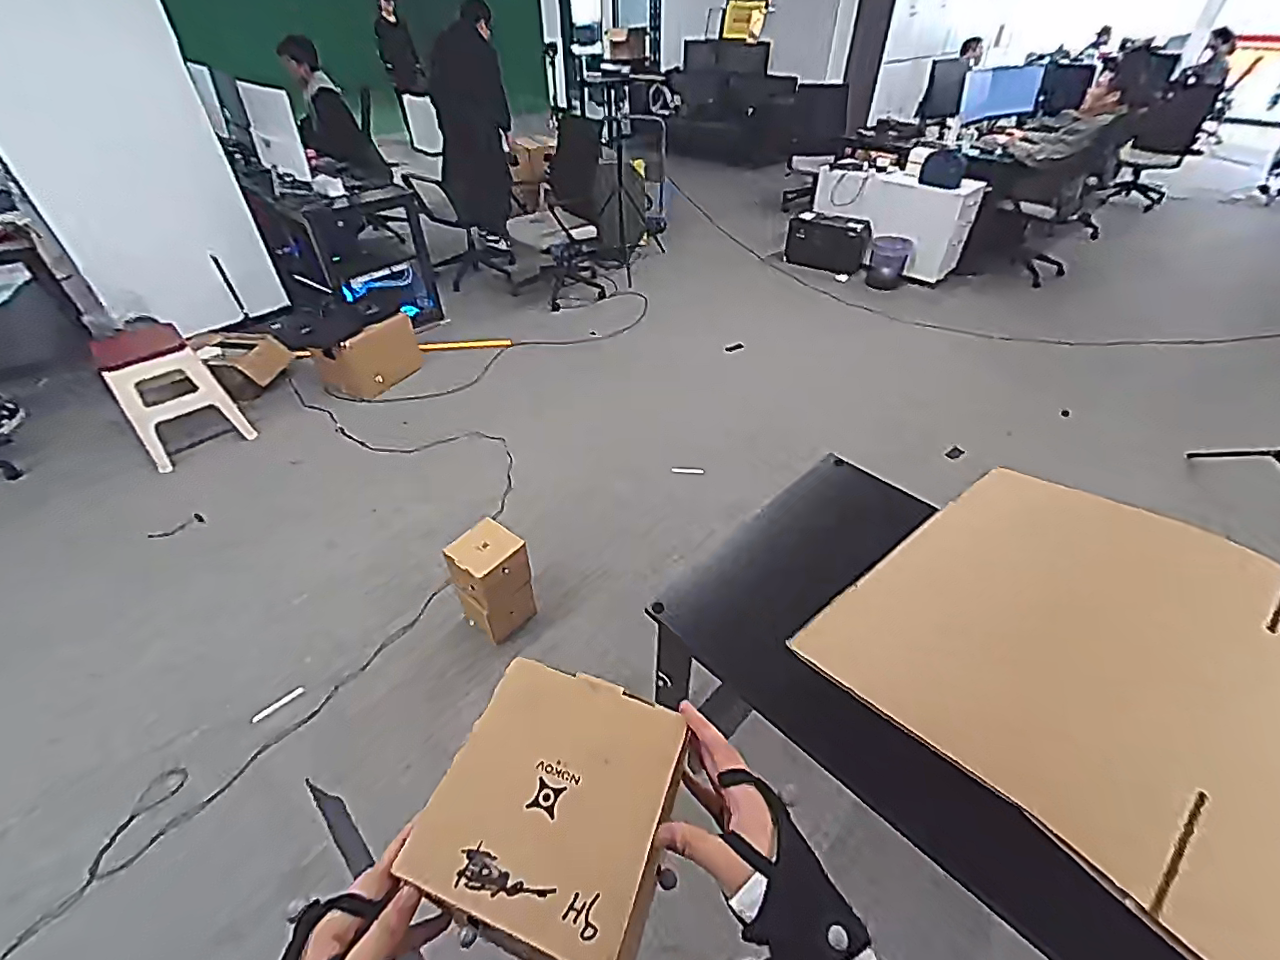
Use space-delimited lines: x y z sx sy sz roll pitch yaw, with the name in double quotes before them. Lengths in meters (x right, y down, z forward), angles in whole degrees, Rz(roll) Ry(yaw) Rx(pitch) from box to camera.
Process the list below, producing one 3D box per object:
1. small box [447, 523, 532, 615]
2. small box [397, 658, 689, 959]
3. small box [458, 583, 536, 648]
"small box" -0.444 0.269 1.622 0.168 0.176 0.179 28 47 27
"small box" -0.064 0.293 0.463 0.168 0.176 0.179 13 43 17
"small box" -0.447 0.395 1.725 0.168 0.176 0.179 30 50 30
